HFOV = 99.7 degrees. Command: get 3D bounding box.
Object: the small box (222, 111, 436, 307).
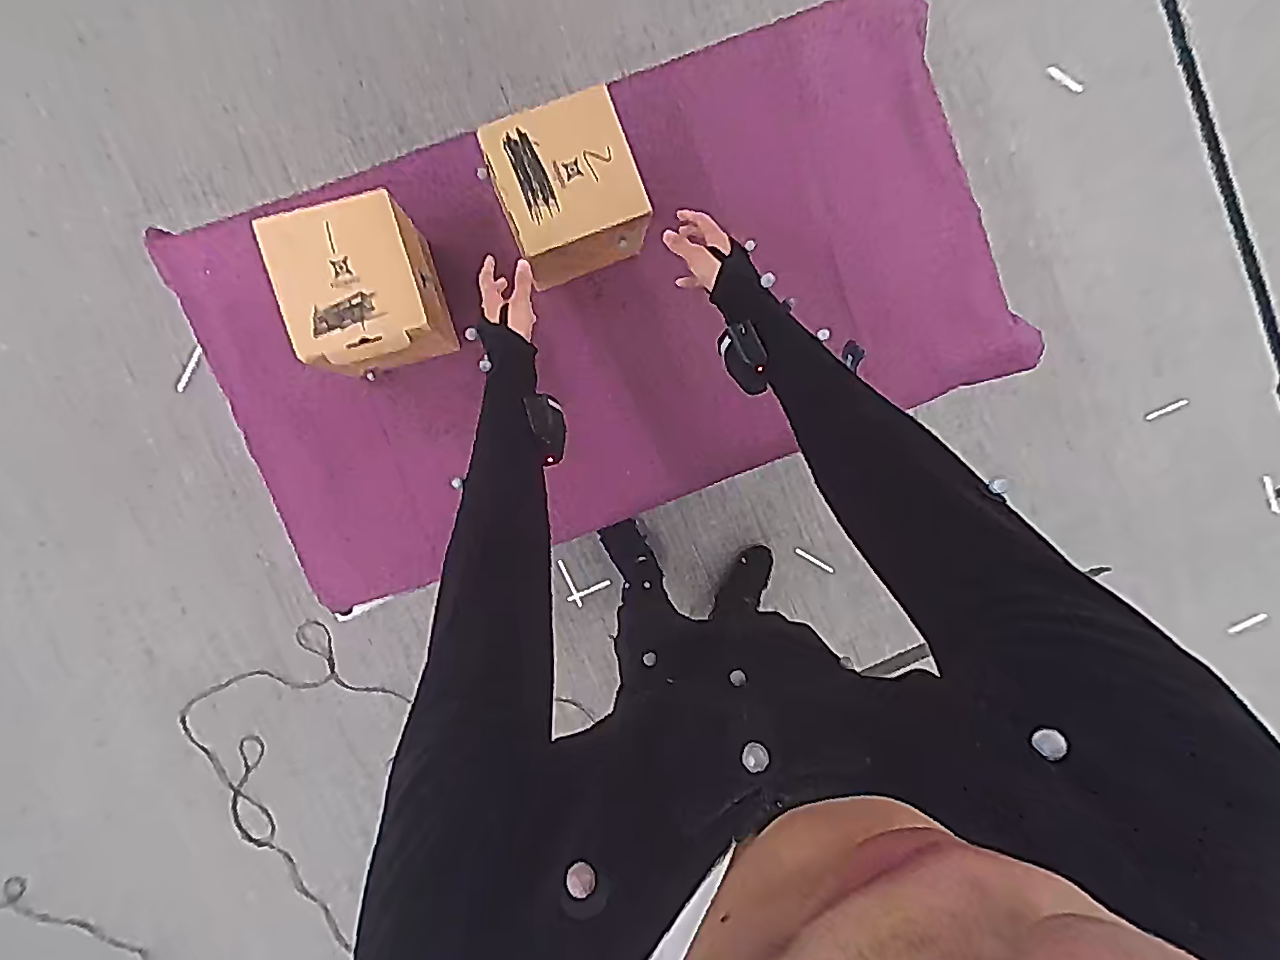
[{"bbox_3d":[-0.392,-0.340,0.720,0.168,0.176,0.179,-15,97,-3],"label":"small box"}]
